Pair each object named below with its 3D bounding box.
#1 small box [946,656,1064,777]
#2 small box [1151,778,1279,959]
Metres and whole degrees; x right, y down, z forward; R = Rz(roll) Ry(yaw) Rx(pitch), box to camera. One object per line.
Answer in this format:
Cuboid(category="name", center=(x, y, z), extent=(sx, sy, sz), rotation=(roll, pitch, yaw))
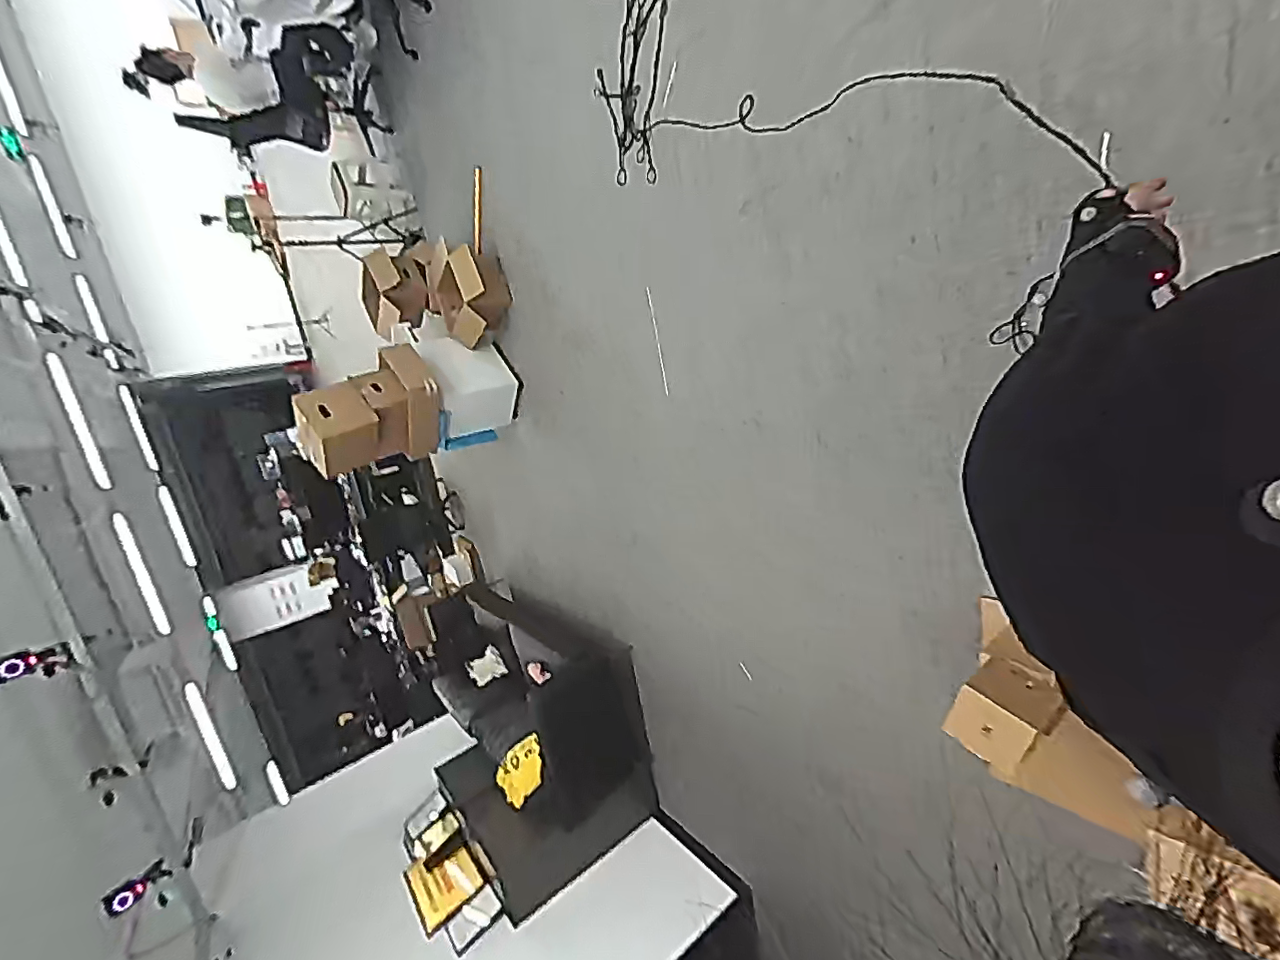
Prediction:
Cuboid(category="small box", center=(0.895, 0.572, 1.327), extent=(0.168, 0.176, 0.179), rotation=(34, 132, 43))
Cuboid(category="small box", center=(1.006, 0.651, 0.917), extent=(0.179, 0.176, 0.168), rotation=(3, 108, 55))
